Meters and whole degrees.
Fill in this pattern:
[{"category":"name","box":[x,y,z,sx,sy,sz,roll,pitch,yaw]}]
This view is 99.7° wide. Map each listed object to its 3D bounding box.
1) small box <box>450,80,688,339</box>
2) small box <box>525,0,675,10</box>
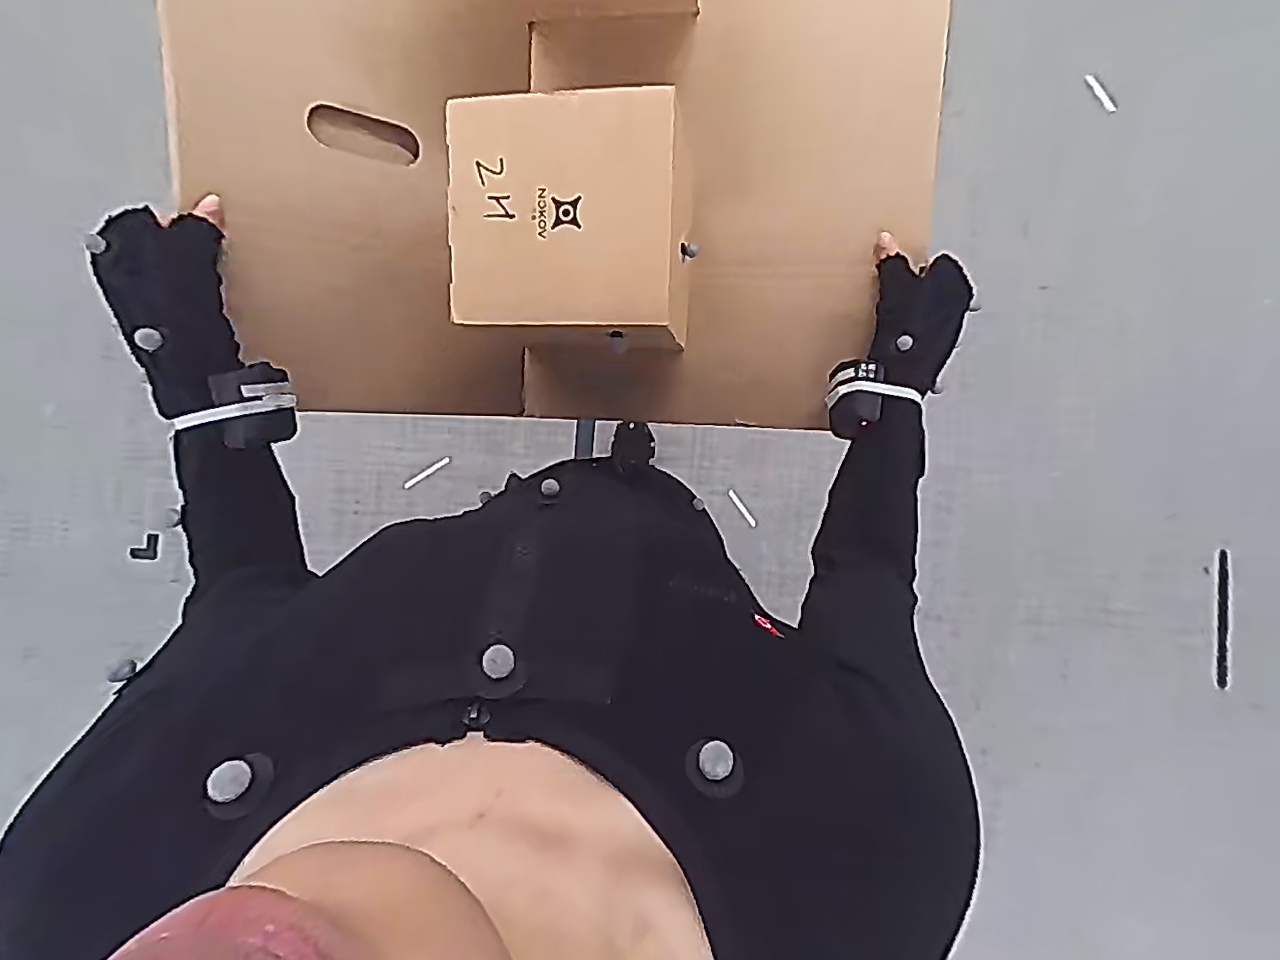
[{"category":"small box","box":[-0.050,-0.223,0.491,0.179,0.176,0.168,3,98,9]},{"category":"small box","box":[-0.041,-0.537,0.448,0.179,0.176,0.168,4,98,8]}]
